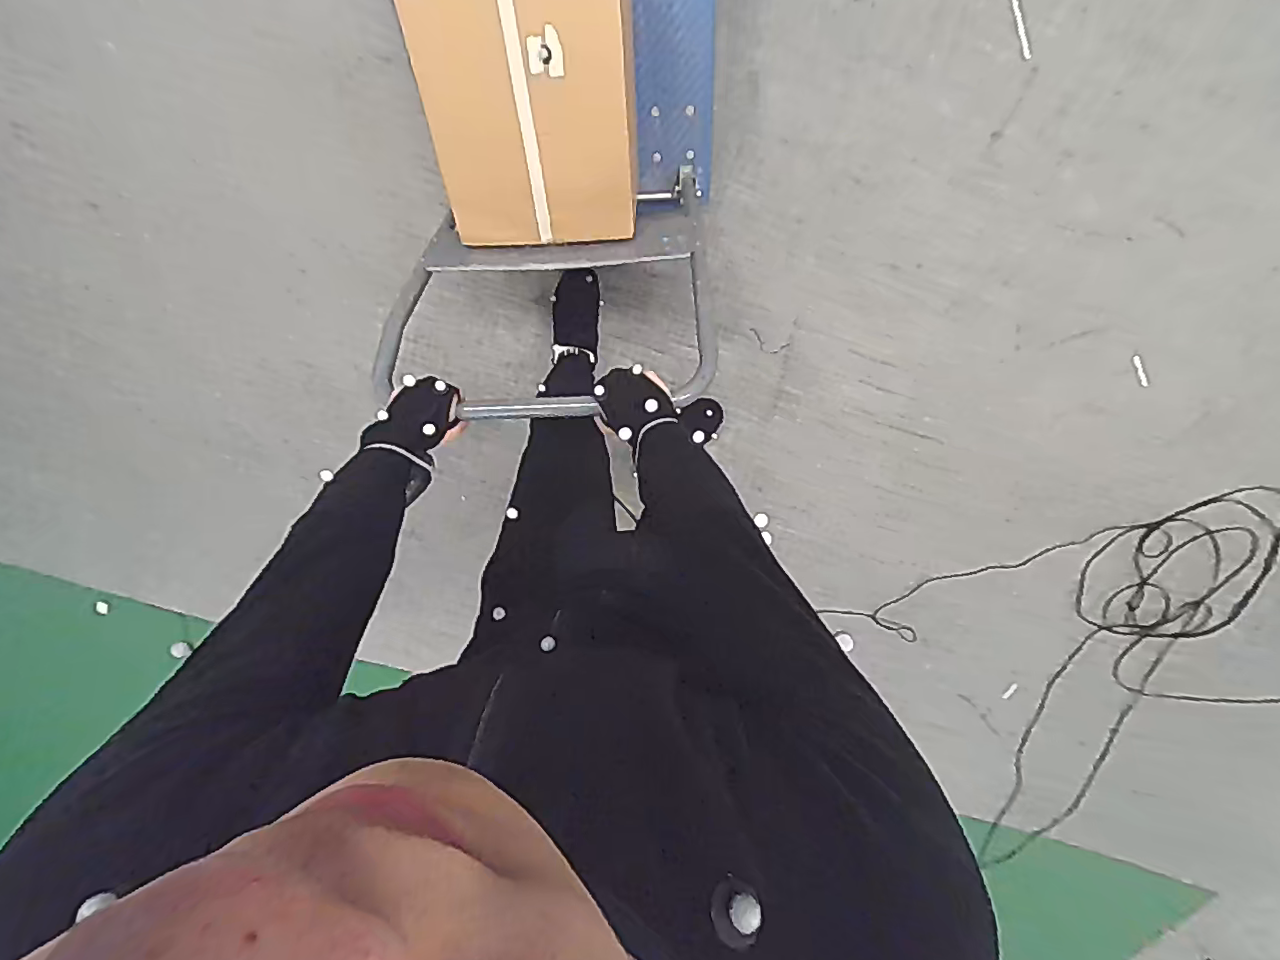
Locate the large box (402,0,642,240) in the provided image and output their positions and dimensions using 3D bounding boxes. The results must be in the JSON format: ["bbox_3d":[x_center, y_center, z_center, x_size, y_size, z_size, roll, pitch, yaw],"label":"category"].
[{"bbox_3d":[-0.167,-0.686,0.943,0.320,0.320,0.408,-2,134,3],"label":"large box"}]
